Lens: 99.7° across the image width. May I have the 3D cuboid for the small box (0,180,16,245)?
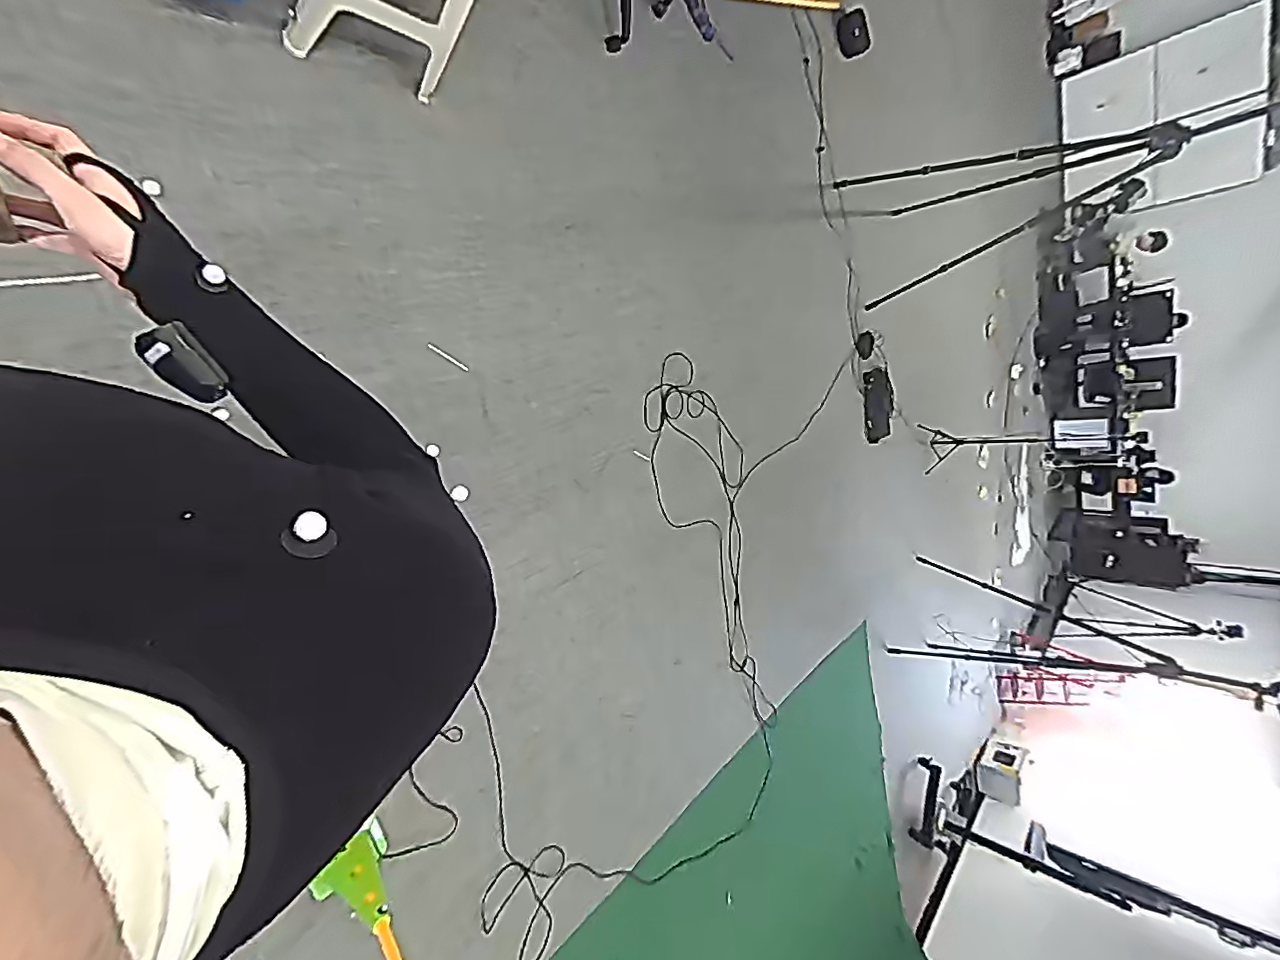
[{"bbox_3d":[-0.546,-0.262,0.336,0.168,0.176,0.179,-17,105,-40],"label":"small box"}]
